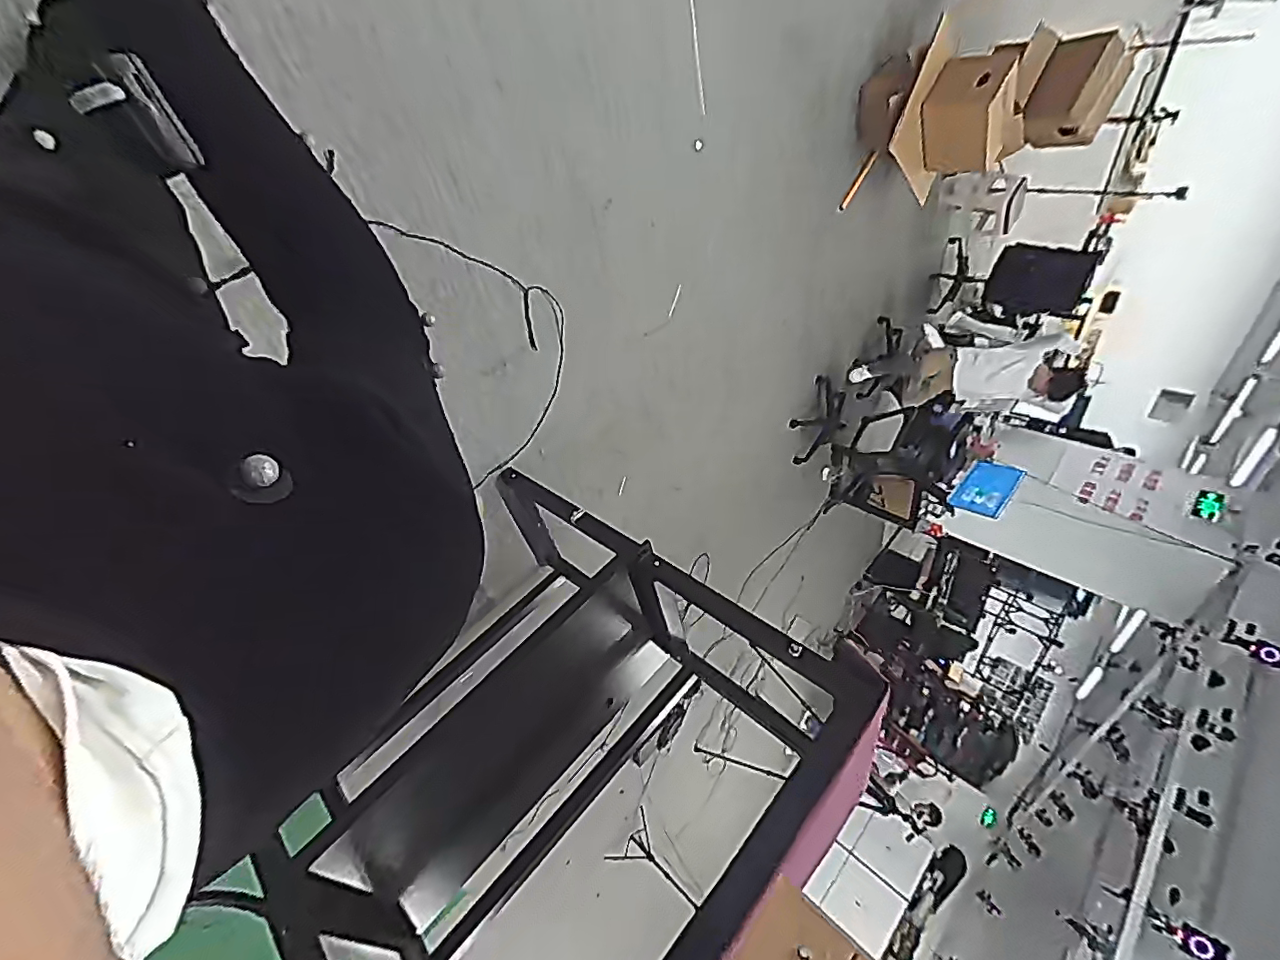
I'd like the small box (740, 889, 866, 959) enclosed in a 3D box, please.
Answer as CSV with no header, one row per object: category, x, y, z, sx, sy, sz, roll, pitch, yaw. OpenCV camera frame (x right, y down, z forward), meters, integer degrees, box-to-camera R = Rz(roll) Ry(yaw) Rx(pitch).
small box,0.290,0.912,0.998,0.179,0.176,0.168,-39,137,-29
